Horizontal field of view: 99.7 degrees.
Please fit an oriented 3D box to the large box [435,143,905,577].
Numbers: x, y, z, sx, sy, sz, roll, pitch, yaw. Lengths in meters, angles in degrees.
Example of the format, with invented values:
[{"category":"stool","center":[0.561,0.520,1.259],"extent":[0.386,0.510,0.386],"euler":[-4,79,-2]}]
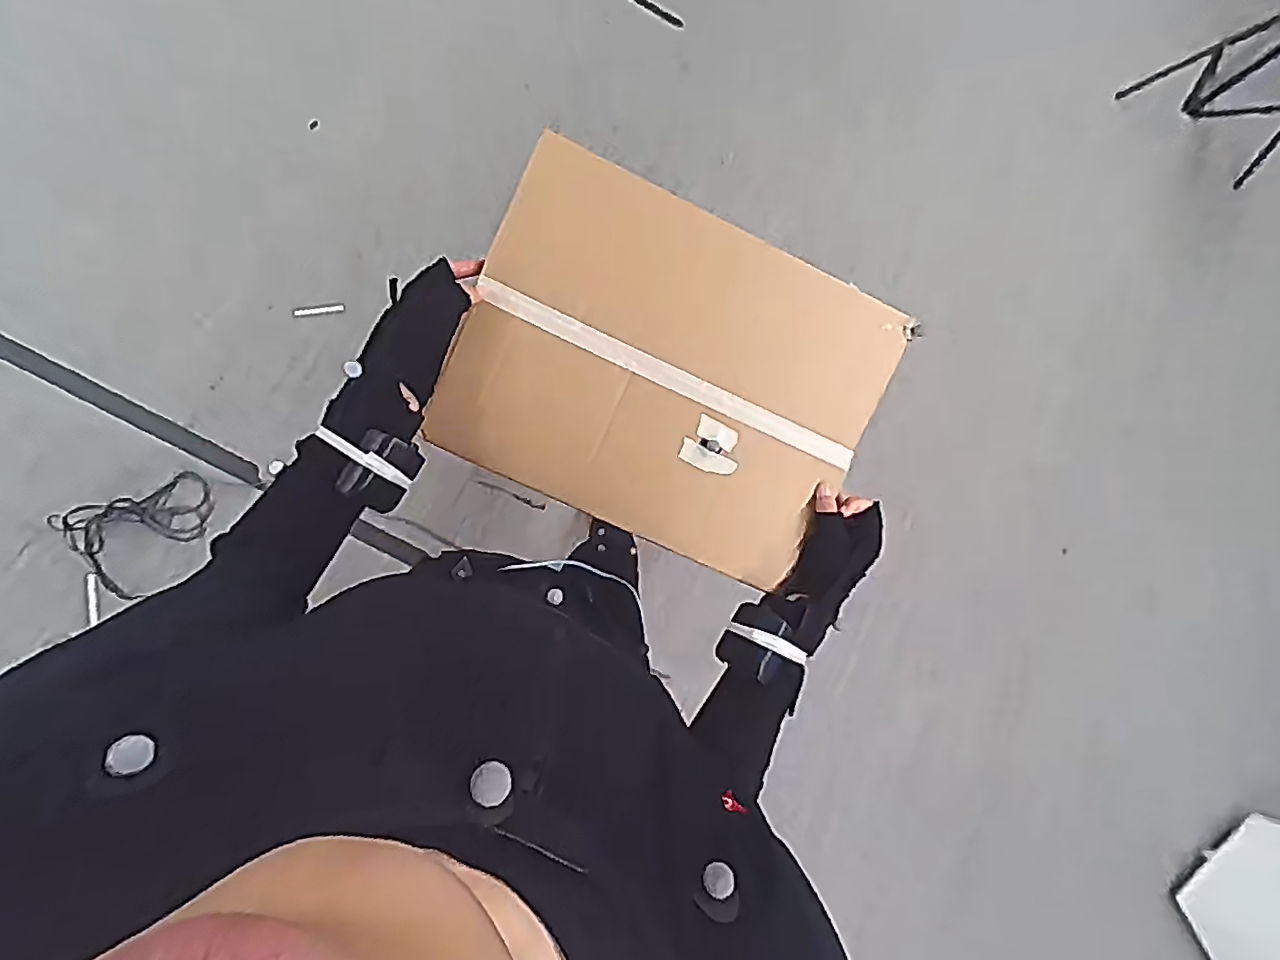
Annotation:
[{"category":"large box","center":[0.022,-0.124,0.694],"extent":[0.408,0.320,0.320],"euler":[25,94,-6]}]
